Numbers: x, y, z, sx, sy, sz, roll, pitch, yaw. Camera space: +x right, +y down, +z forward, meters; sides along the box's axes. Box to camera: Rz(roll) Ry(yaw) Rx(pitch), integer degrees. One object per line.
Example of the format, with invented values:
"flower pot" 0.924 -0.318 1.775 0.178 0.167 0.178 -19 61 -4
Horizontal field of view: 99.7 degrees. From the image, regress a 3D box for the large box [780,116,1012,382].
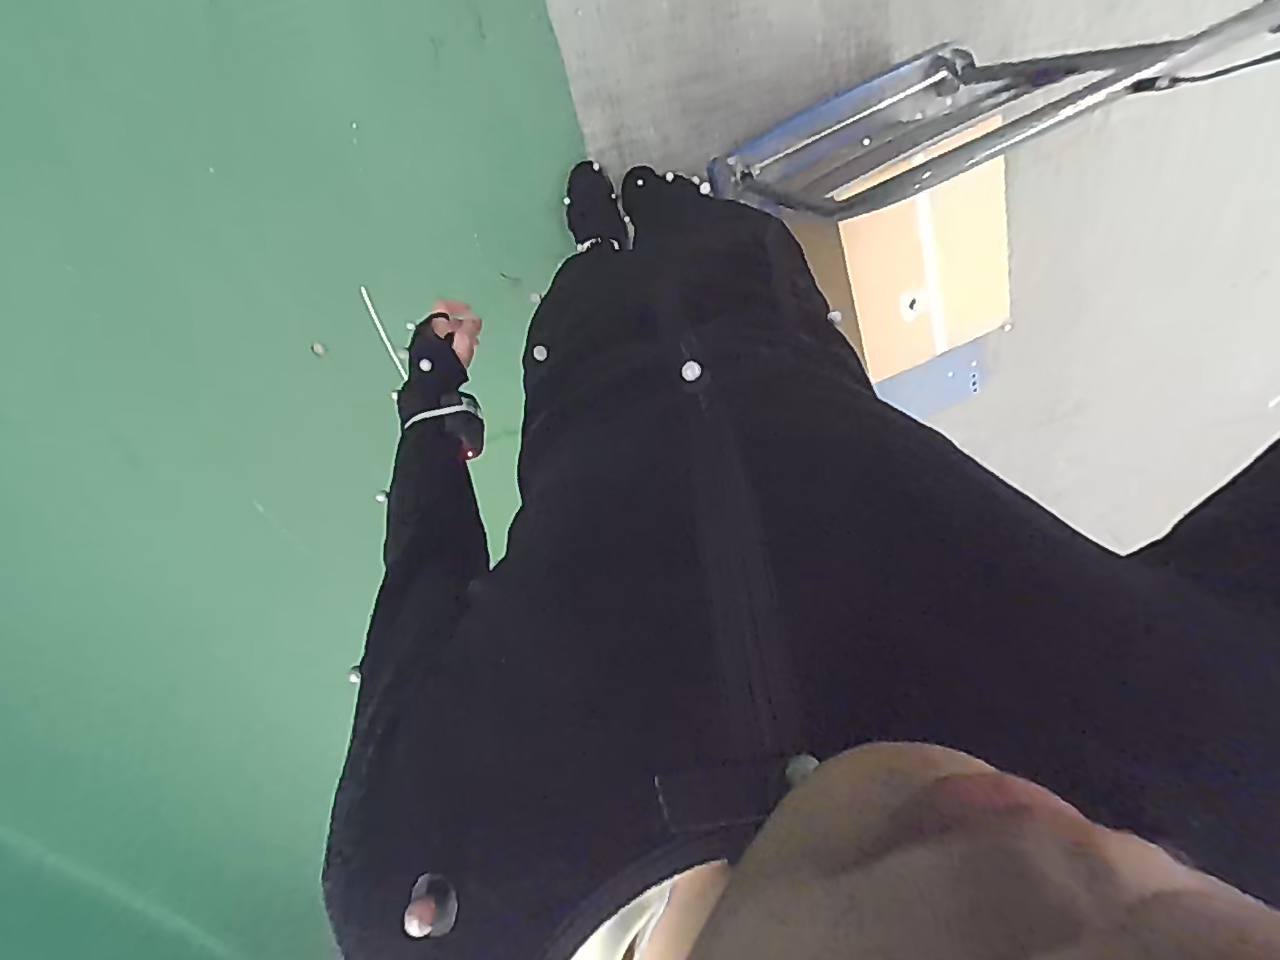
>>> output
"large box" 0.544 -0.495 1.169 0.320 0.320 0.408 -23 122 6
